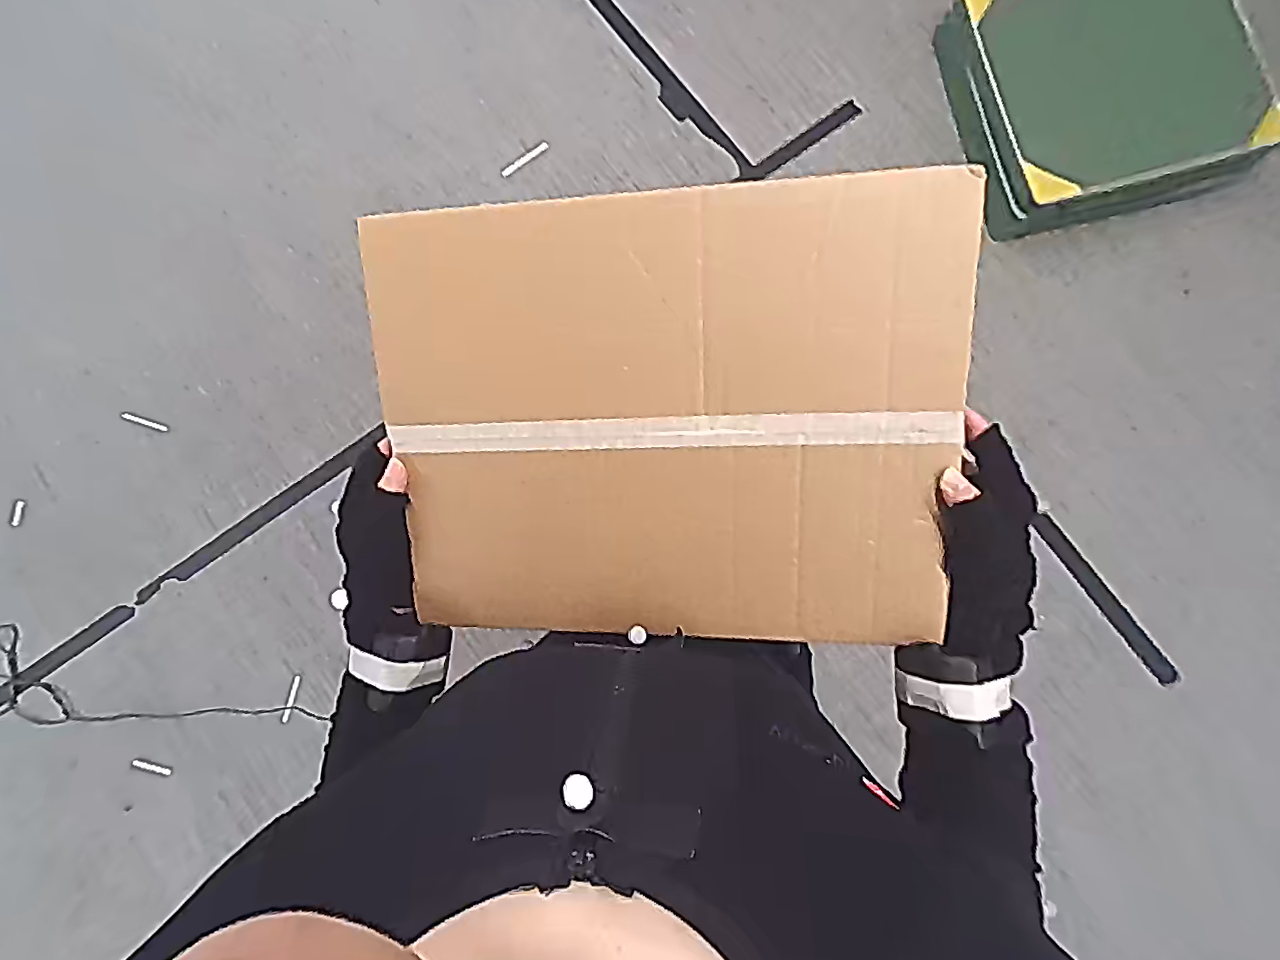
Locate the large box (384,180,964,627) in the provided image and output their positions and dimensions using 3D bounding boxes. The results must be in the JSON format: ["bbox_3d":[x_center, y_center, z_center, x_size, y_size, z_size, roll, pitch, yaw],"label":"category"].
[{"bbox_3d":[0.034,-0.067,0.542,0.408,0.320,0.320,0,104,9],"label":"large box"}]
